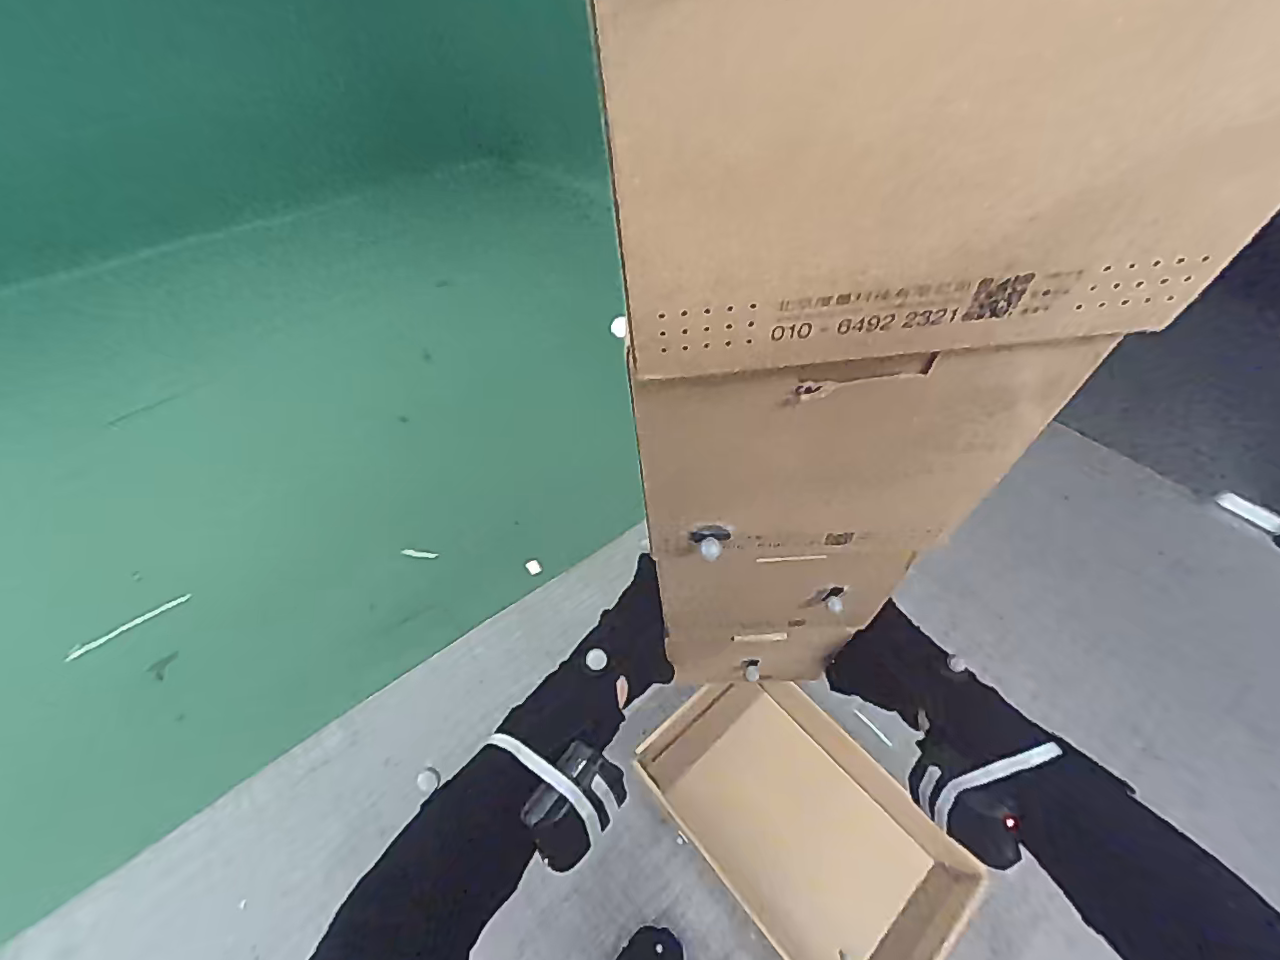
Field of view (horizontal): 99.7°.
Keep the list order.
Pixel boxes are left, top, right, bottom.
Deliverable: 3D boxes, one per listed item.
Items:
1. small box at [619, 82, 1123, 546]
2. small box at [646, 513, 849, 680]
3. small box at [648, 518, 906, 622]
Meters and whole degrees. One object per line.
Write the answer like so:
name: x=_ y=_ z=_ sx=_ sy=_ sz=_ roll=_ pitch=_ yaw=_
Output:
small box: x=0.079 y=-0.073 z=0.288 sx=0.168 sy=0.176 sz=0.179 roll=-3 pitch=56 yaw=2
small box: x=0.099 y=0.102 z=0.568 sx=0.168 sy=0.176 sz=0.179 roll=-7 pitch=57 yaw=2
small box: x=0.091 y=0.002 z=0.415 sx=0.168 sy=0.176 sz=0.179 roll=-4 pitch=56 yaw=3
